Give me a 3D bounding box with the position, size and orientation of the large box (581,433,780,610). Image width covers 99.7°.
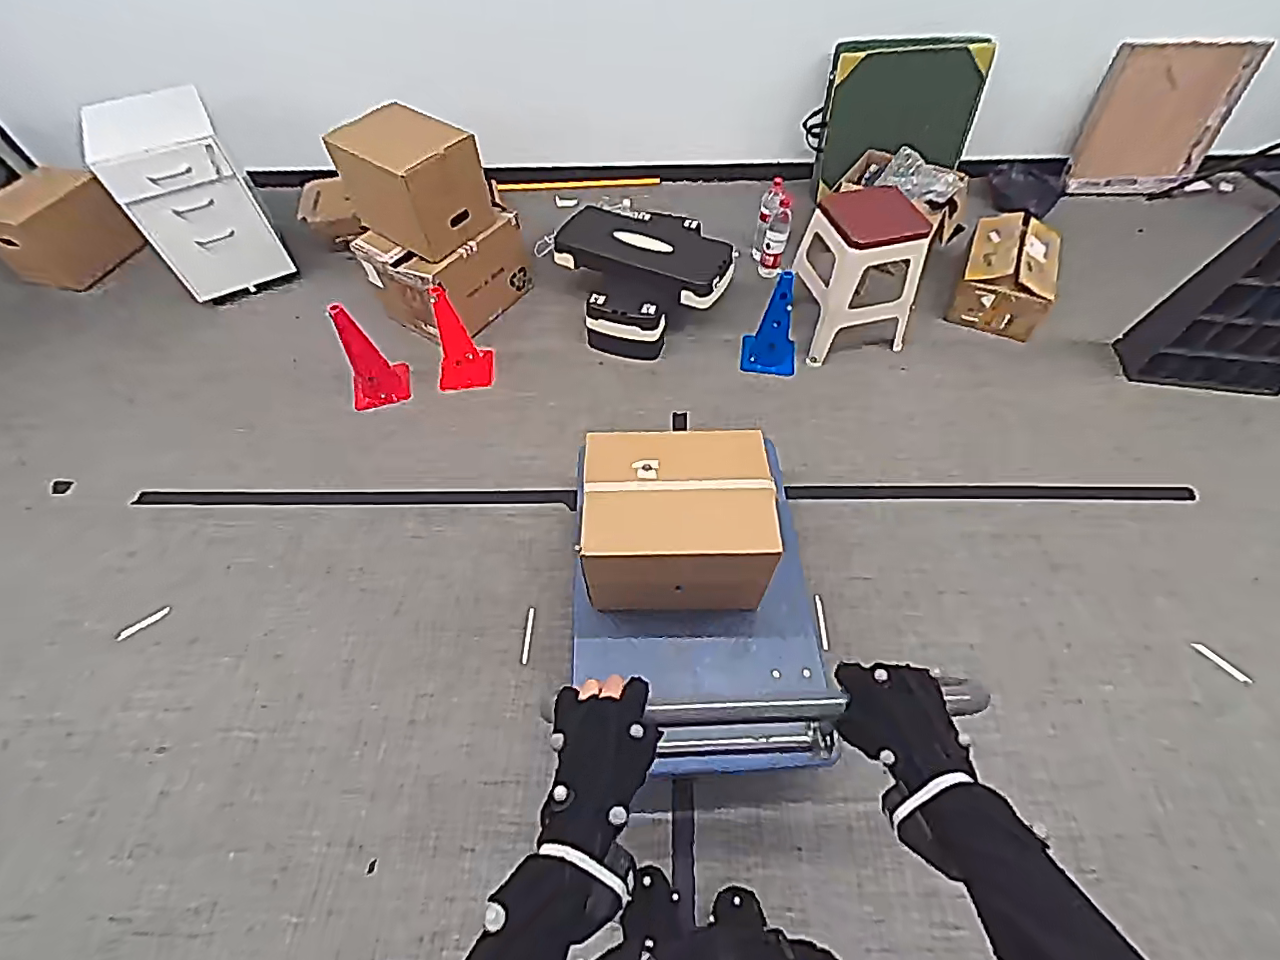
[{"bbox_3d":[0.083,0.107,1.281,0.408,0.320,0.320,-1,56,1],"label":"large box"}]
